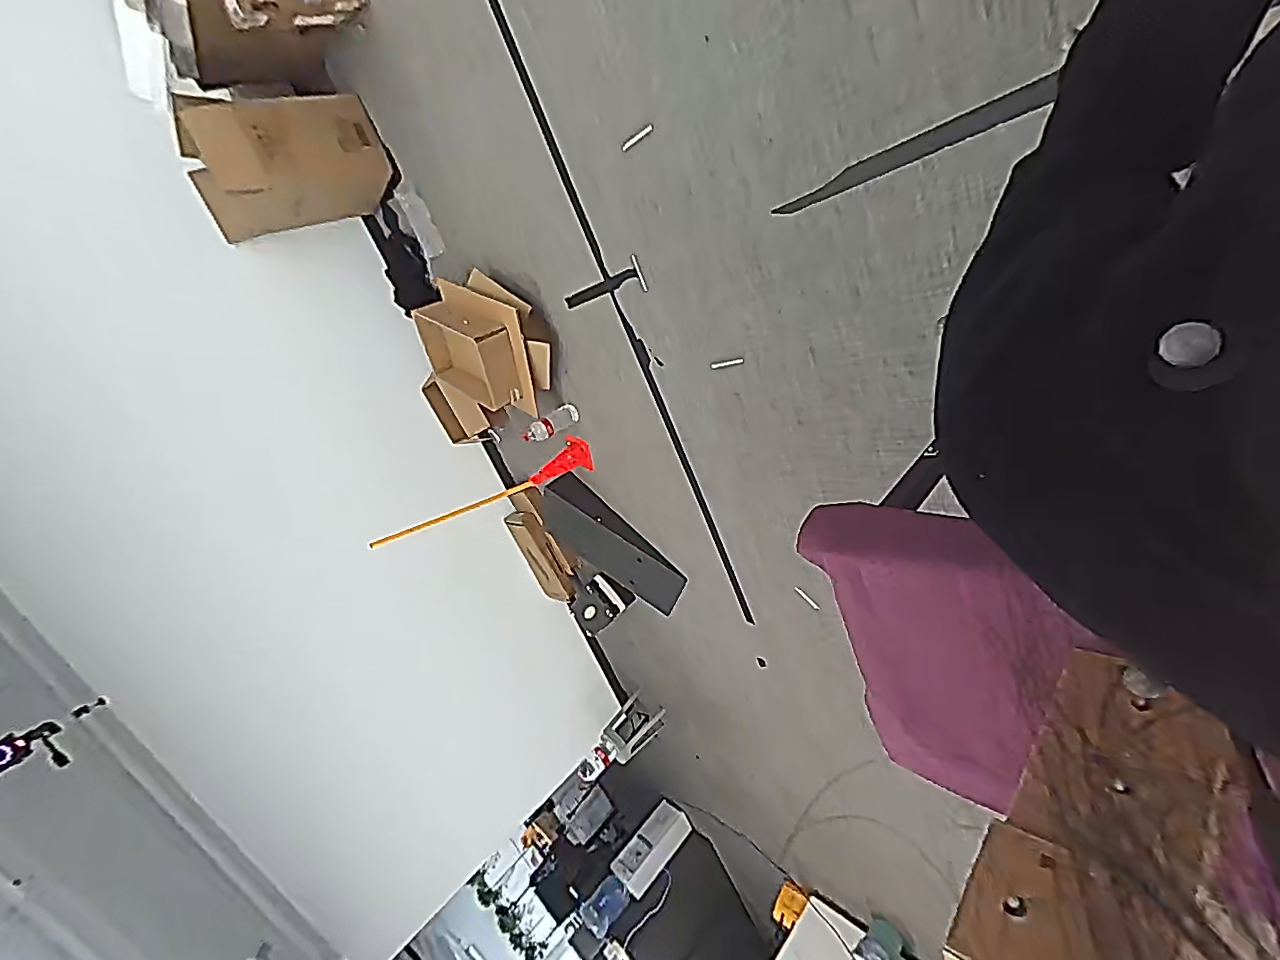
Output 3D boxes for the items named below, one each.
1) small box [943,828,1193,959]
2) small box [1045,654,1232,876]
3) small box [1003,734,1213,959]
[{"bbox_3d":[0.448,0.517,0.564,0.168,0.176,0.179,1,121,52],"label":"small box"},{"bbox_3d":[0.681,0.372,0.742,0.168,0.176,0.179,6,124,50],"label":"small box"},{"bbox_3d":[0.568,0.456,0.657,0.168,0.176,0.179,5,123,50],"label":"small box"}]
